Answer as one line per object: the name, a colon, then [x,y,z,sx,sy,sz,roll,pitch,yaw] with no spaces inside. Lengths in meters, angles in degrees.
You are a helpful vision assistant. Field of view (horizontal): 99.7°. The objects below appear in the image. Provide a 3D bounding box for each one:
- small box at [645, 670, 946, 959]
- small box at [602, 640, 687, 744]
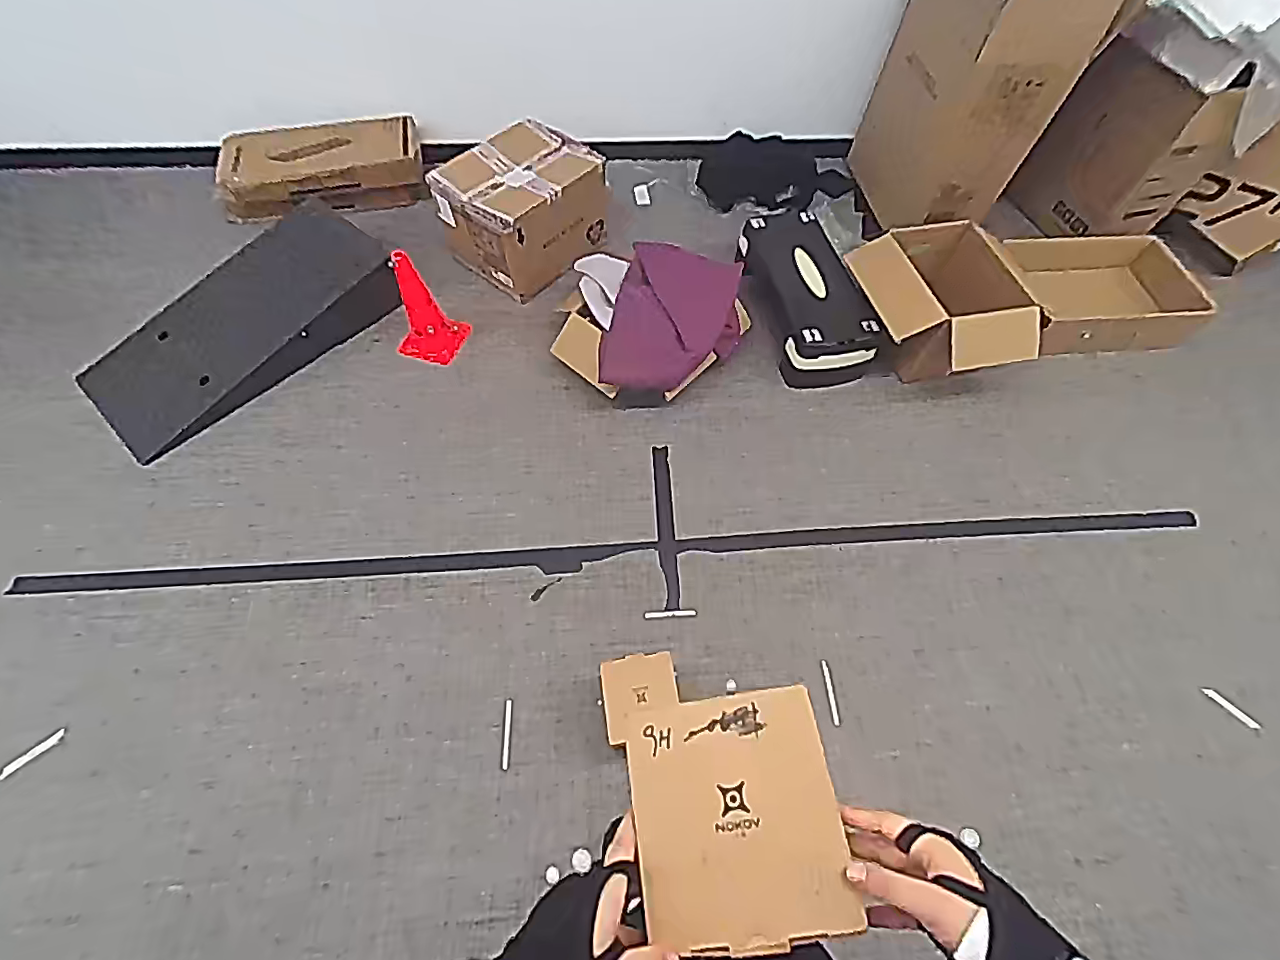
small box: [0.104,0.262,0.434,0.168,0.176,0.179,-10,63,3]
small box: [0.009,0.466,1.182,0.168,0.176,0.179,-8,63,-6]
